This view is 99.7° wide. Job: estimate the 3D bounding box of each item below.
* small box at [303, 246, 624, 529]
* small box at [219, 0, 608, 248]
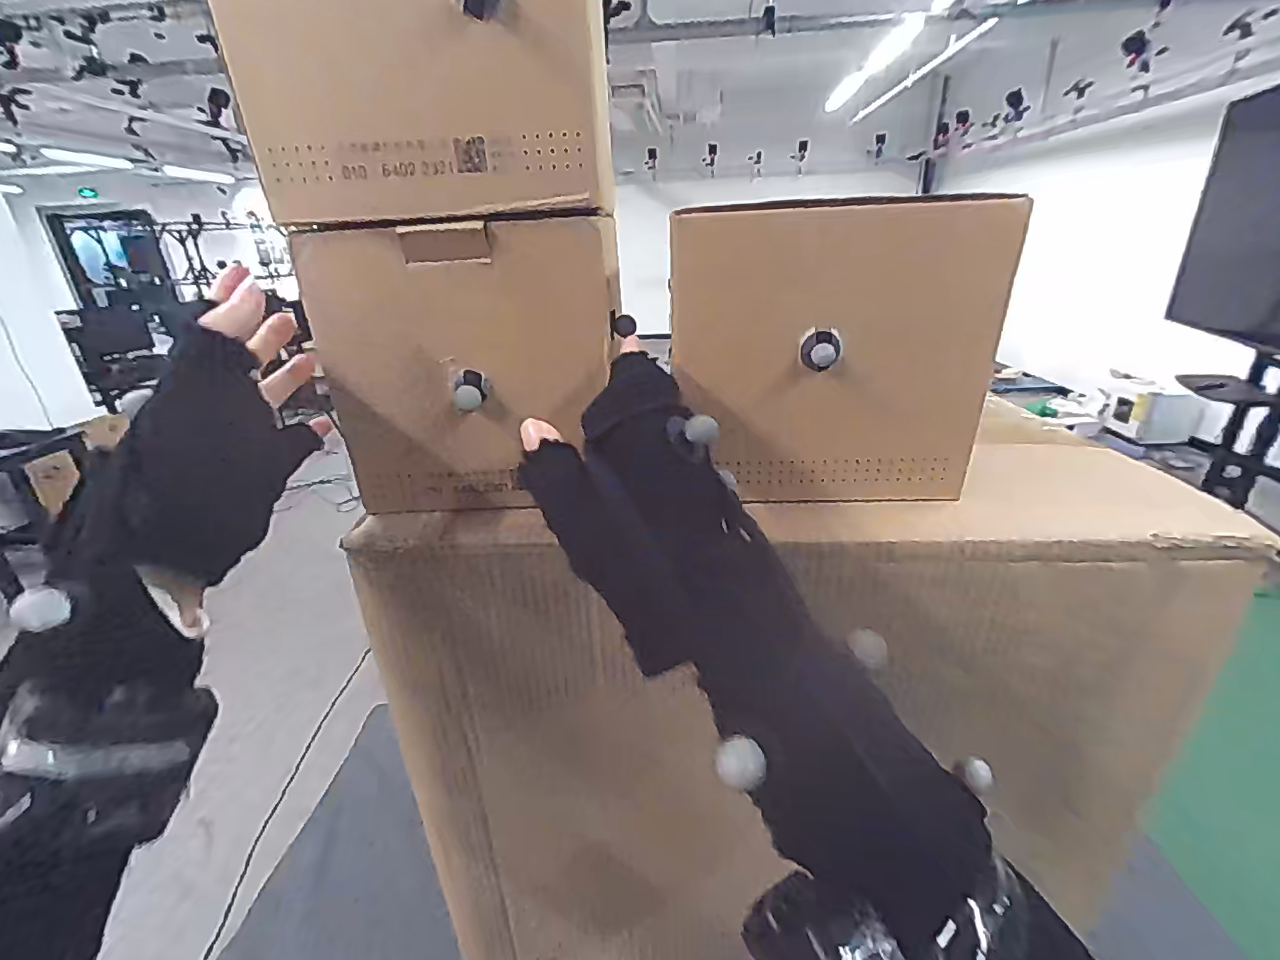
[{"bbox_3d":[-0.100,-0.072,0.402,0.168,0.176,0.179,-4,25,0],"label":"small box"},{"bbox_3d":[-0.108,-0.234,0.320,0.168,0.176,0.179,-1,24,0],"label":"small box"}]
